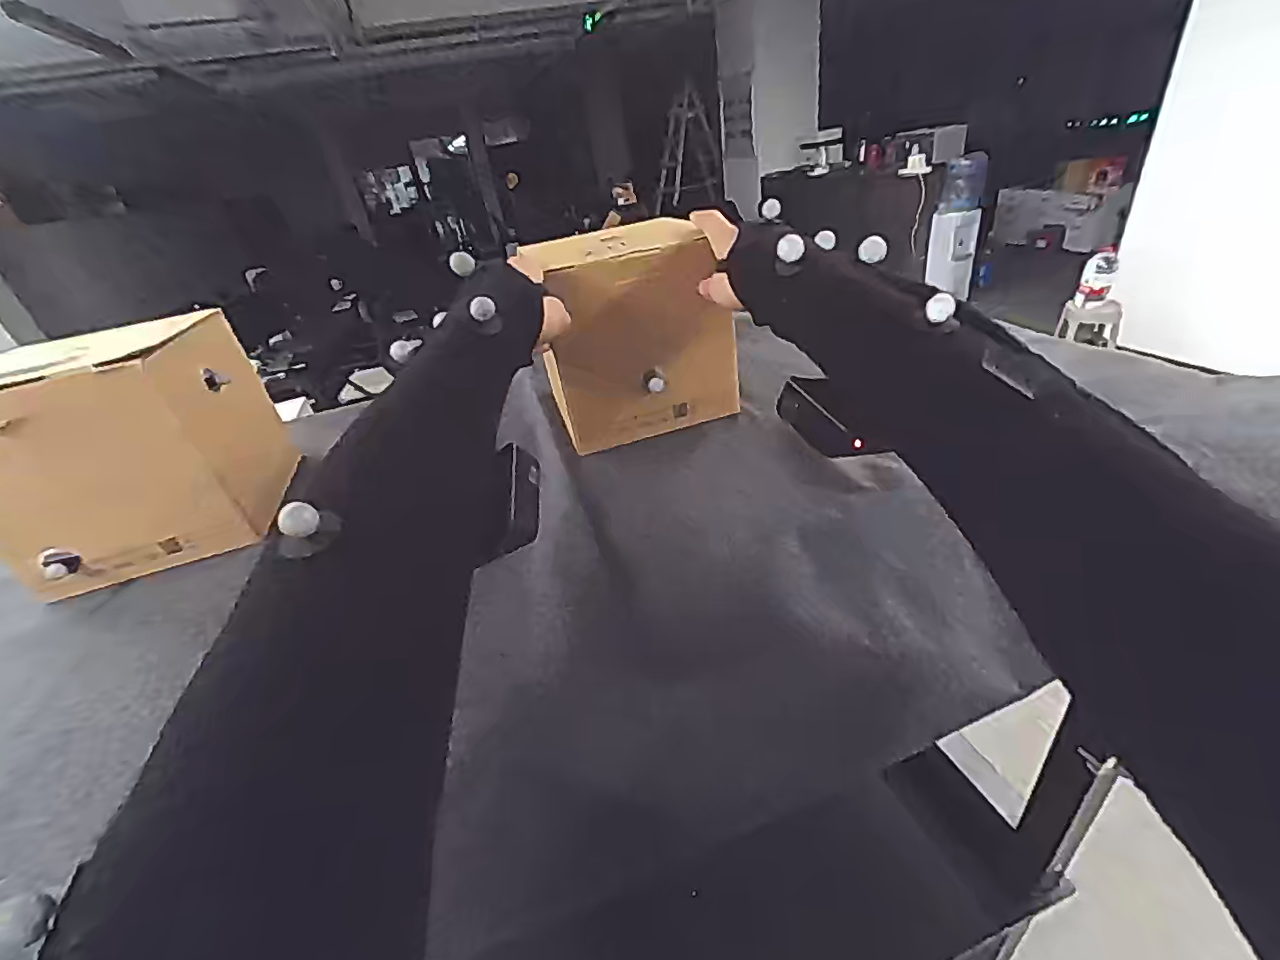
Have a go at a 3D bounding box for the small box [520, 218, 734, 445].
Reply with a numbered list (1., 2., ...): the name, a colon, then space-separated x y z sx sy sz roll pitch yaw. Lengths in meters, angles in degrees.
1. small box: -0.015 -0.155 0.548 0.168 0.176 0.179 -16 32 -9

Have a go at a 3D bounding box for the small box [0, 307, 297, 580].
1. small box: -0.435 -0.034 0.473 0.168 0.176 0.179 -17 32 -12
